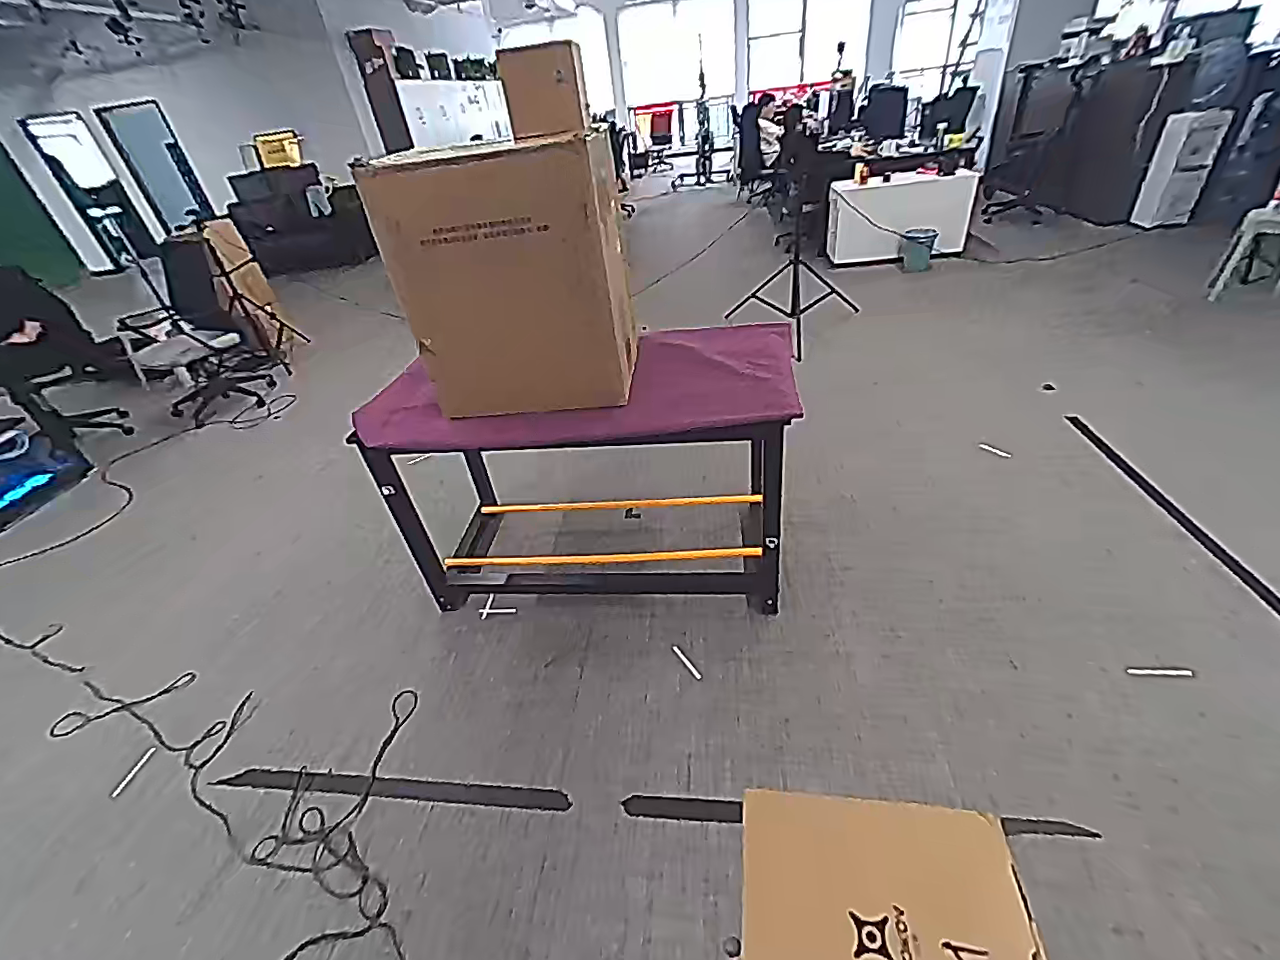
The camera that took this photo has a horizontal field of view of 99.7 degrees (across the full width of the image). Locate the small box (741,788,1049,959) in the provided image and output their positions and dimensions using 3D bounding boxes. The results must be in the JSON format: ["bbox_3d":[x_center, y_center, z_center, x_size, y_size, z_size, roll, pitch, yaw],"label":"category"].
[{"bbox_3d":[0.162,0.343,0.372,0.179,0.176,0.168,-1,37,12],"label":"small box"}]
